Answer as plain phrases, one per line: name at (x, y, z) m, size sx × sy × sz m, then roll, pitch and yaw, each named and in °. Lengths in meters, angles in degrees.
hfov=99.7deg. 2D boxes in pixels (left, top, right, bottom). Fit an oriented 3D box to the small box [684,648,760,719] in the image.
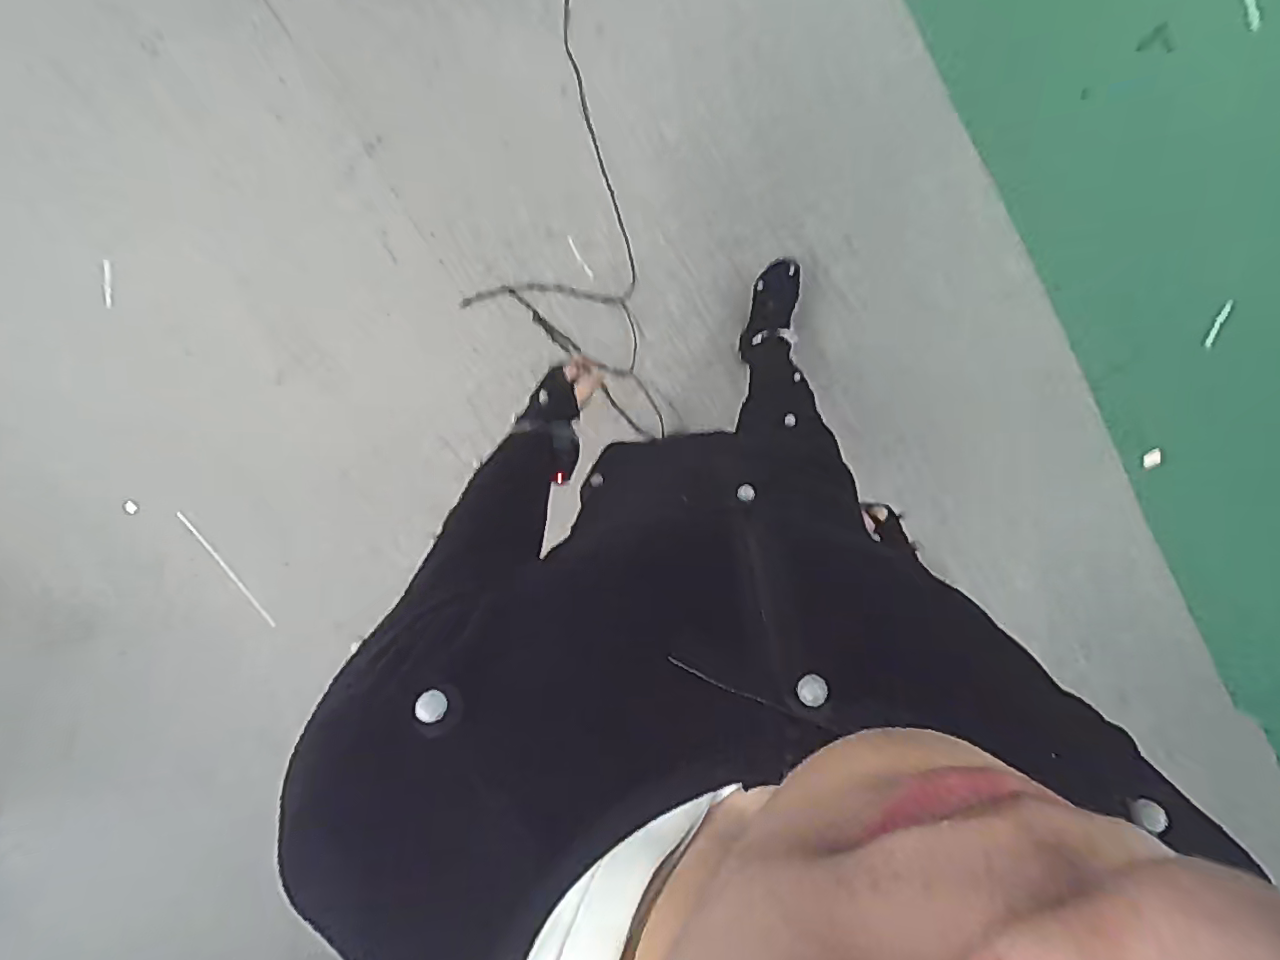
small box at (0.244, 0.645, 1.660) m, size 0.168 × 0.176 × 0.179 m, roll -29°, pitch 101°, yaw 9°
